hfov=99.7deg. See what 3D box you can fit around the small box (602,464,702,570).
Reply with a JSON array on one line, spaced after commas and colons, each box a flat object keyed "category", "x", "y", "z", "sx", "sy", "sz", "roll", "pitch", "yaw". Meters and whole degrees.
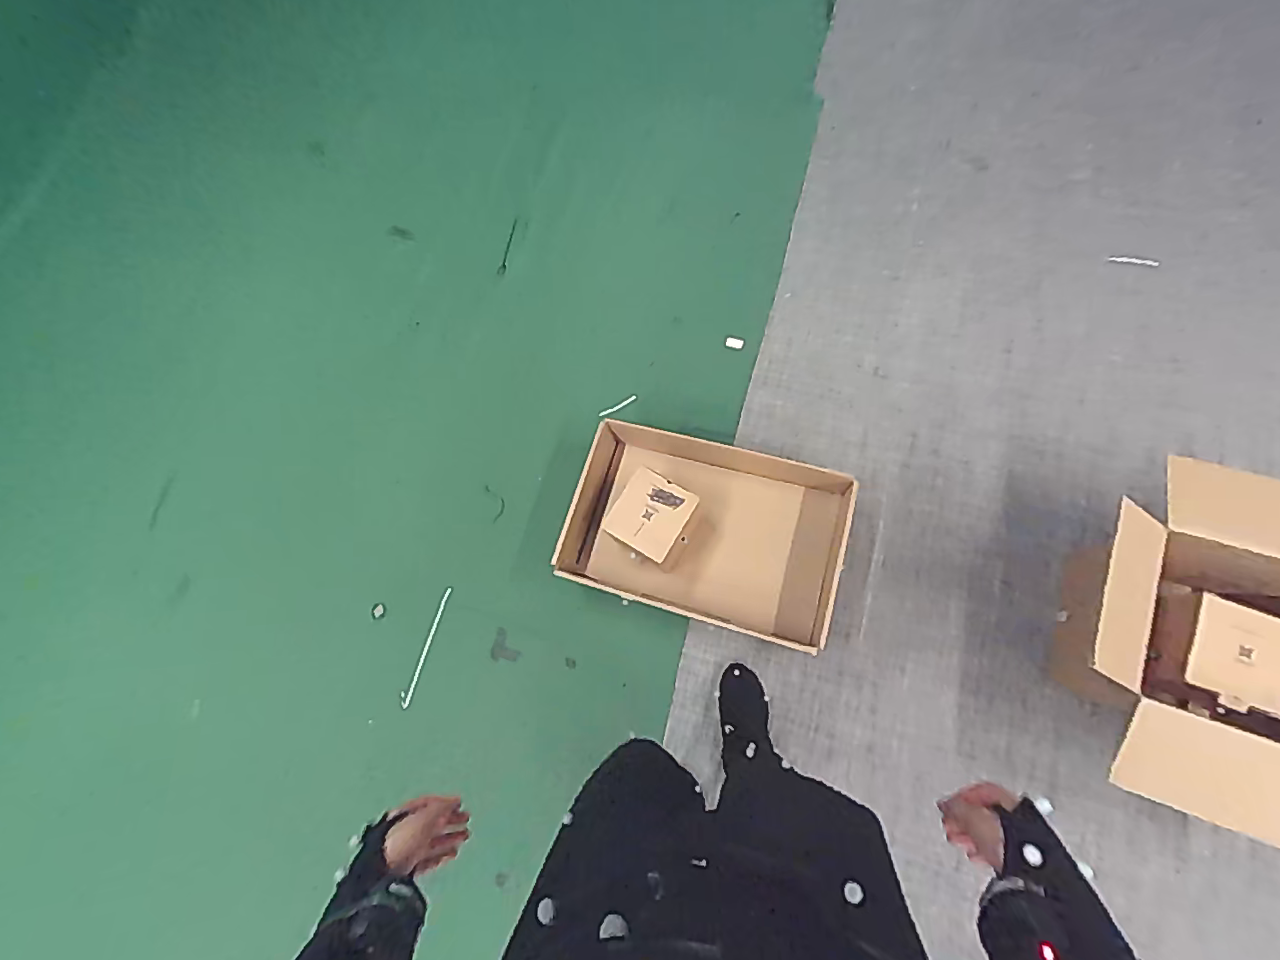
[{"category": "small box", "x": 0.035, "y": 0.093, "z": 1.288, "sx": 0.168, "sy": 0.176, "sz": 0.179, "roll": 30, "pitch": 80, "yaw": 16}]
